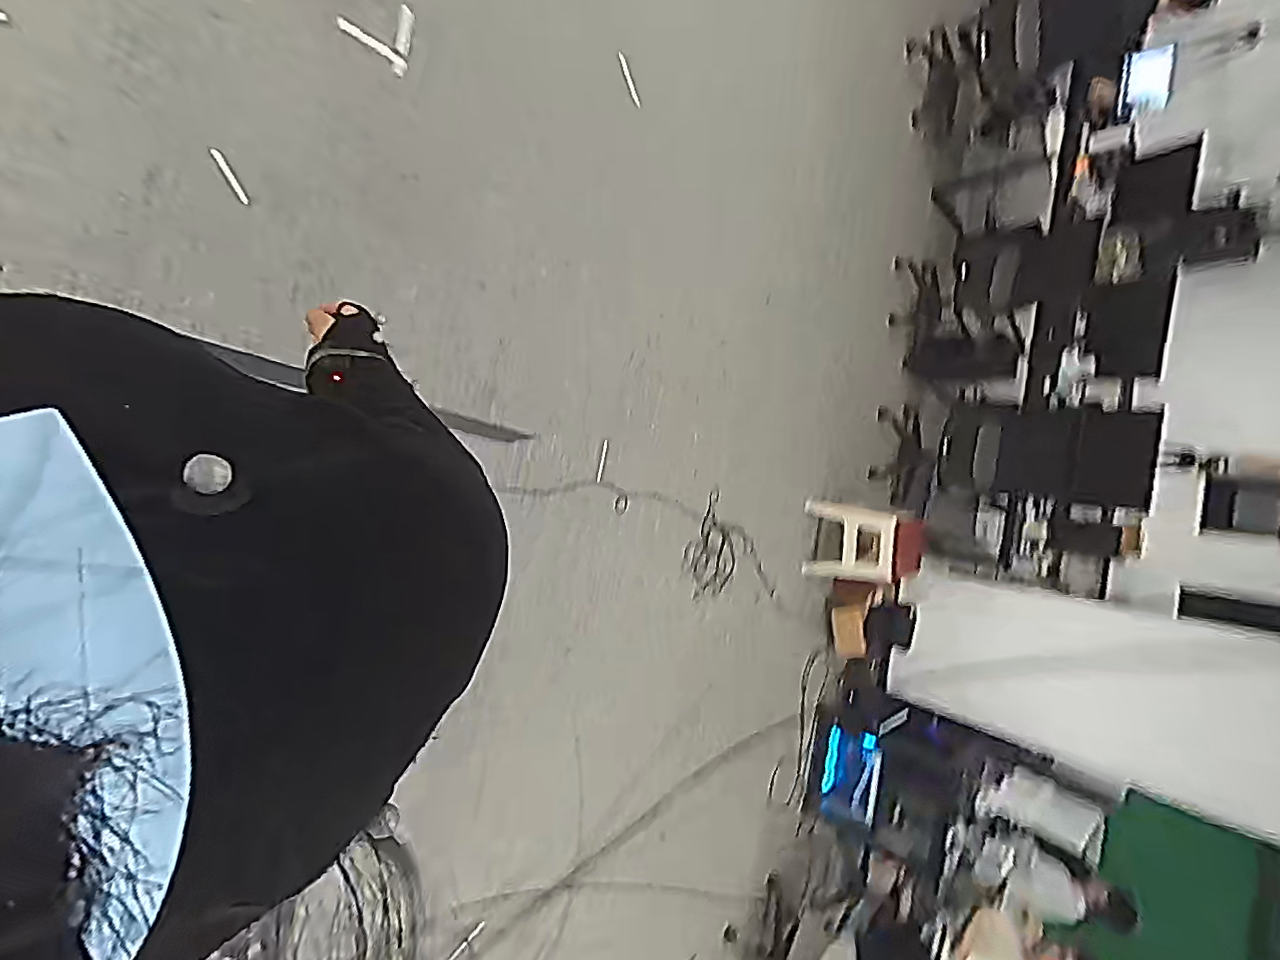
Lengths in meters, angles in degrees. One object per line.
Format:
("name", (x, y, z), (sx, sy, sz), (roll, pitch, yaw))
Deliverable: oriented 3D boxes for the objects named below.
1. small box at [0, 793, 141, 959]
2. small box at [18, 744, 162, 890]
("small box", (-0.844, 0.598, 0.782), (0.168, 0.176, 0.179), (7, 89, -42))
("small box", (-0.934, 0.588, 0.922), (0.168, 0.176, 0.179), (7, 90, -42))
